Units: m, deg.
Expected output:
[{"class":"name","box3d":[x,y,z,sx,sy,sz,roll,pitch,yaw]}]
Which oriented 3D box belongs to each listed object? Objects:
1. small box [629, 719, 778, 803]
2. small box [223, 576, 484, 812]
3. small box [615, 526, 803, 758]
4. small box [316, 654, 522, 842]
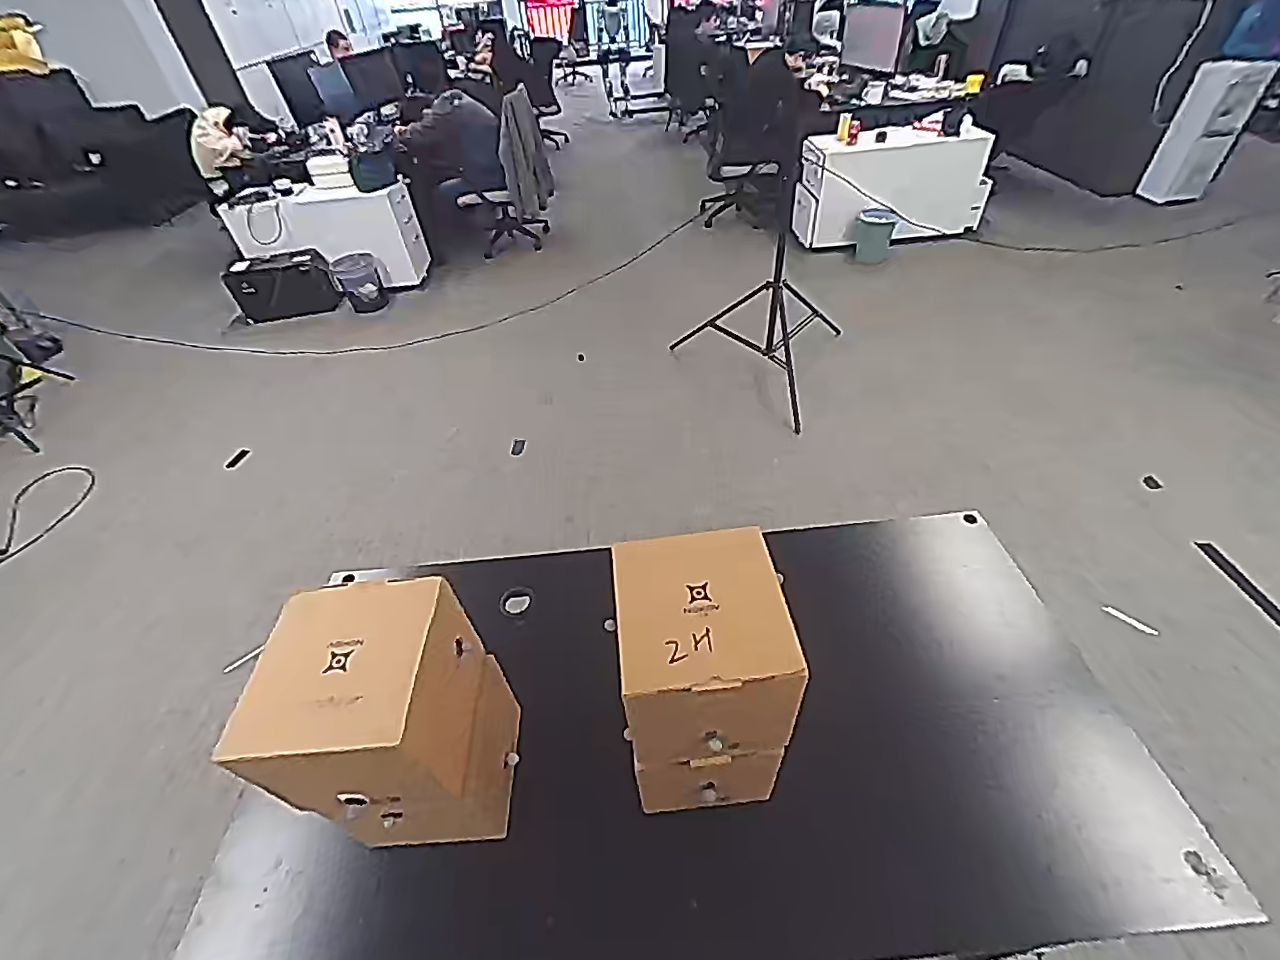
[{"class":"small box","box3d":[0.073,0.300,0.703,0.168,0.176,0.179,-7,44,-1]},{"class":"small box","box3d":[-0.276,0.227,0.576,0.168,0.176,0.179,-6,45,1]},{"class":"small box","box3d":[0.063,0.176,0.593,0.168,0.176,0.179,-7,43,-1]},{"class":"small box","box3d":[-0.263,0.343,0.689,0.179,0.176,0.168,-4,44,0]}]
